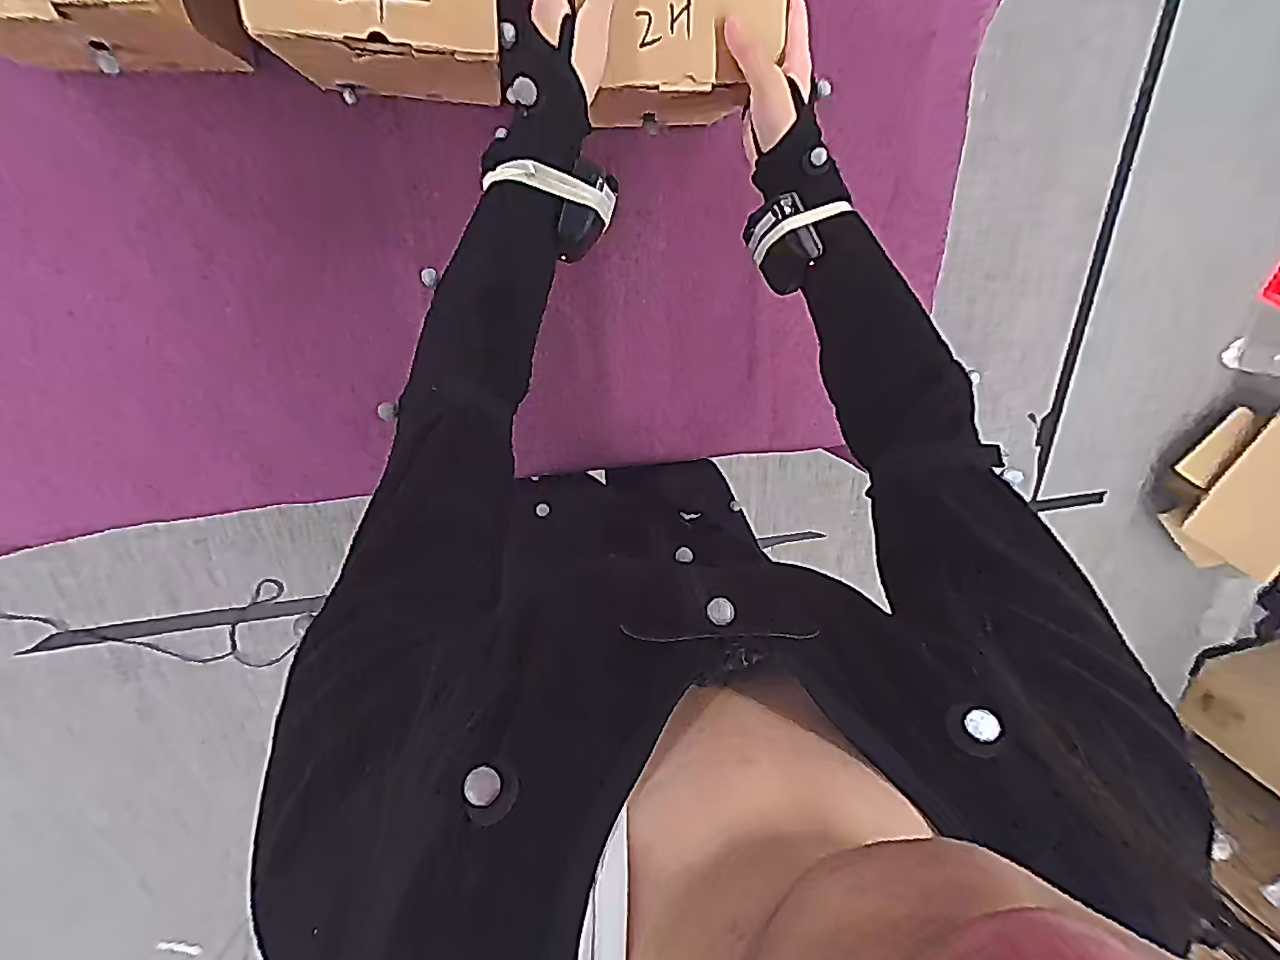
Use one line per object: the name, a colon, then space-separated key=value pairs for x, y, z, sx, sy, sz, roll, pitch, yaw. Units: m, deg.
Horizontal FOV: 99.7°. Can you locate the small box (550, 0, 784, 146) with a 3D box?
small box: x=0.013 y=-0.413 z=0.474 sx=0.168 sy=0.176 sz=0.179 roll=-11 pitch=116 yaw=-9
